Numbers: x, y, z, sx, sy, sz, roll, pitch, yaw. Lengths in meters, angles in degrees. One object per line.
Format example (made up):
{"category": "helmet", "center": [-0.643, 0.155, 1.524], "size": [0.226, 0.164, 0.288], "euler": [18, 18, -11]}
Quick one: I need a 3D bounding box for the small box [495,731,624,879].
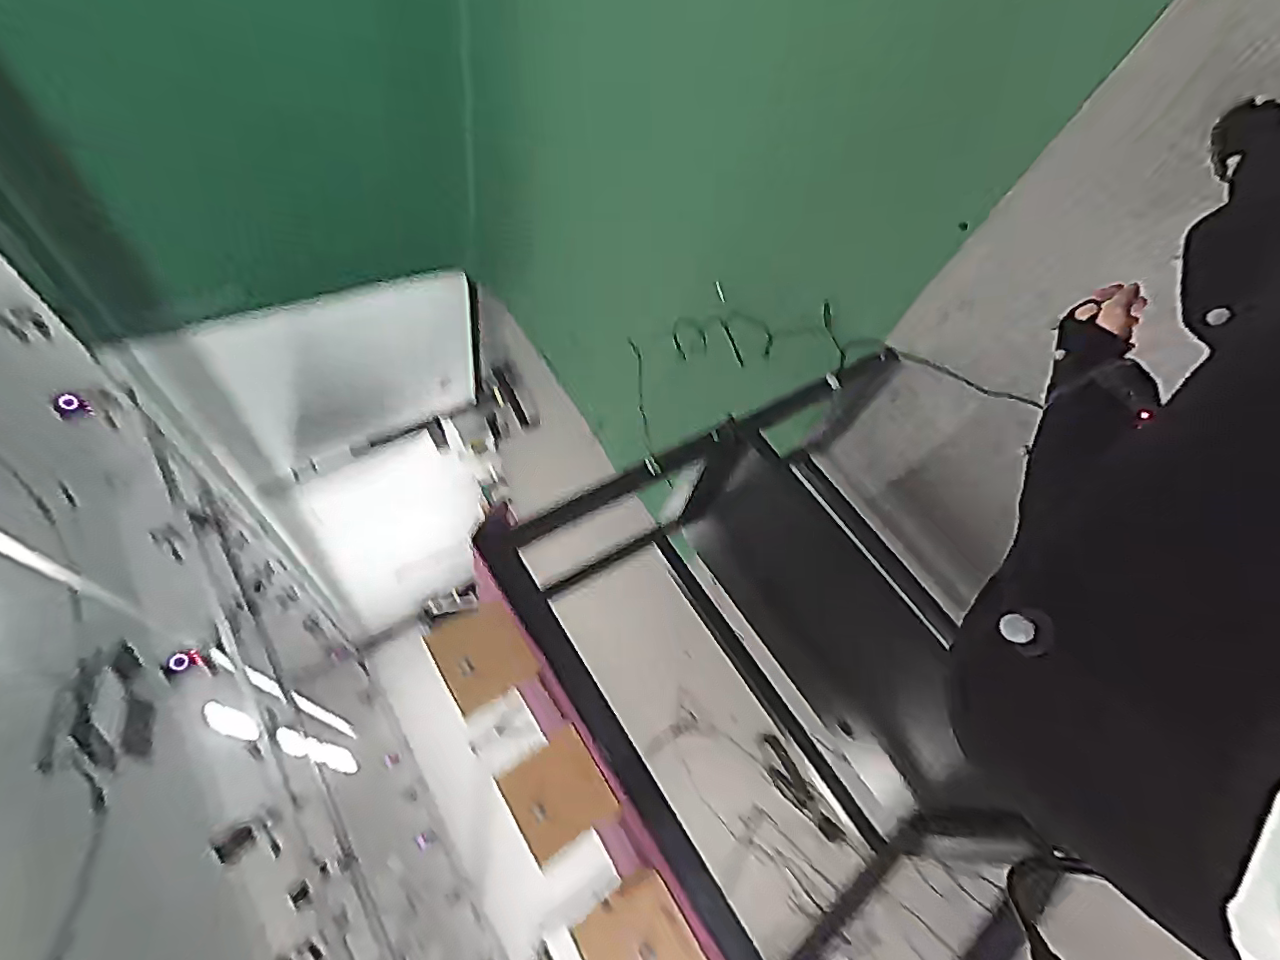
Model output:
{"category": "small box", "center": [-0.157, 0.597, 1.016], "size": [0.179, 0.176, 0.168], "euler": [53, 152, 18]}

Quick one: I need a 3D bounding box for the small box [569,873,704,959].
{"category": "small box", "center": [-0.001, 0.812, 0.922], "size": [0.168, 0.176, 0.179], "euler": [54, 152, 20]}

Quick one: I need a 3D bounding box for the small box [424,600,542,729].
{"category": "small box", "center": [-0.318, 0.375, 1.104], "size": [0.179, 0.176, 0.168], "euler": [55, 150, 15]}
